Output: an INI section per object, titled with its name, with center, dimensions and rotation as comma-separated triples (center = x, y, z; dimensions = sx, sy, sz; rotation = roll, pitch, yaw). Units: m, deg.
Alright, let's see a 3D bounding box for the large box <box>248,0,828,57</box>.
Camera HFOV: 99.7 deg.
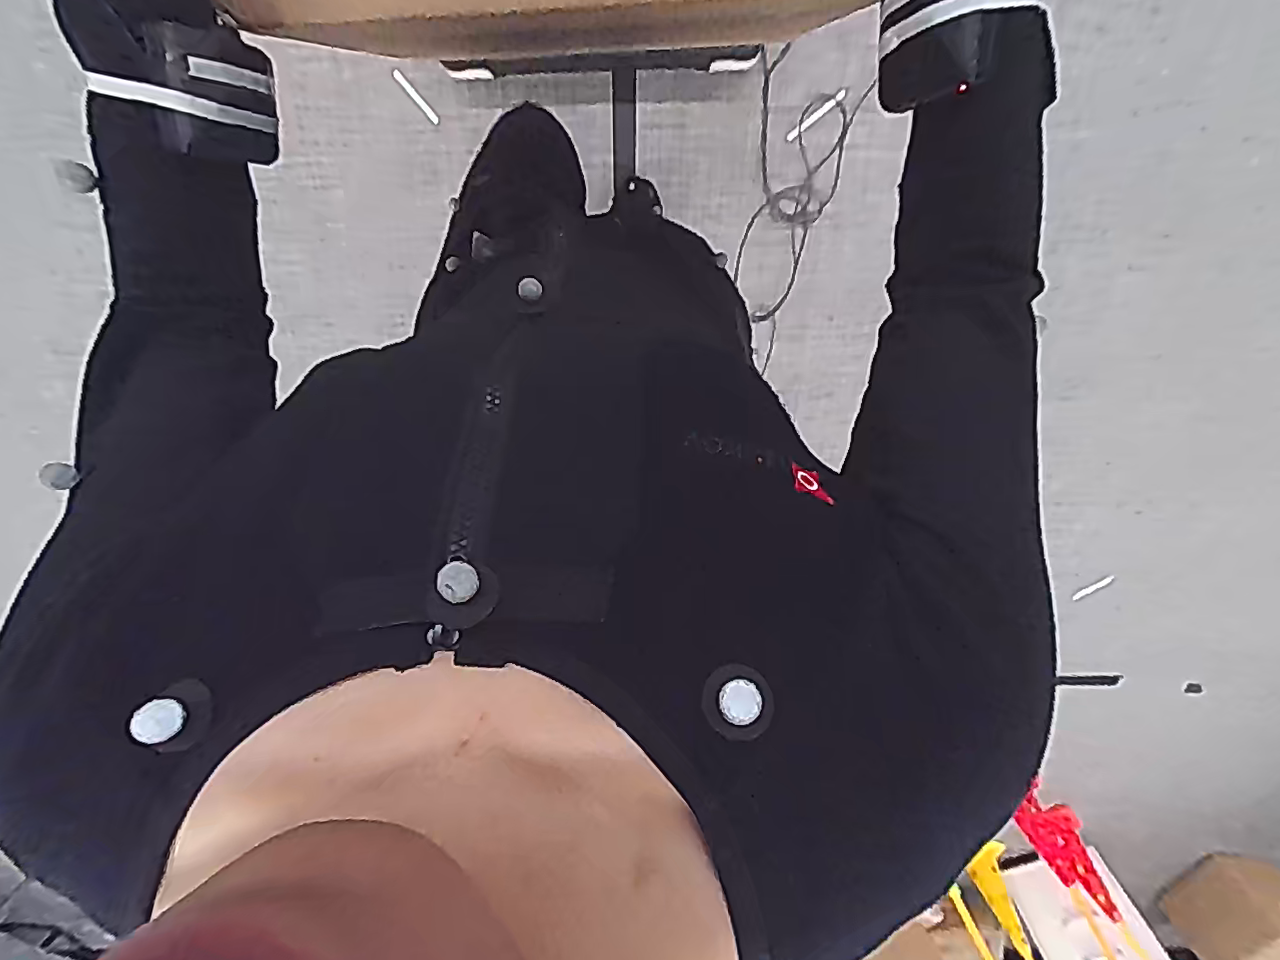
[large box]
center = -0.047, -0.498, 0.353
dimensions = 0.408, 0.320, 0.320
rotation = -3, 125, 2
